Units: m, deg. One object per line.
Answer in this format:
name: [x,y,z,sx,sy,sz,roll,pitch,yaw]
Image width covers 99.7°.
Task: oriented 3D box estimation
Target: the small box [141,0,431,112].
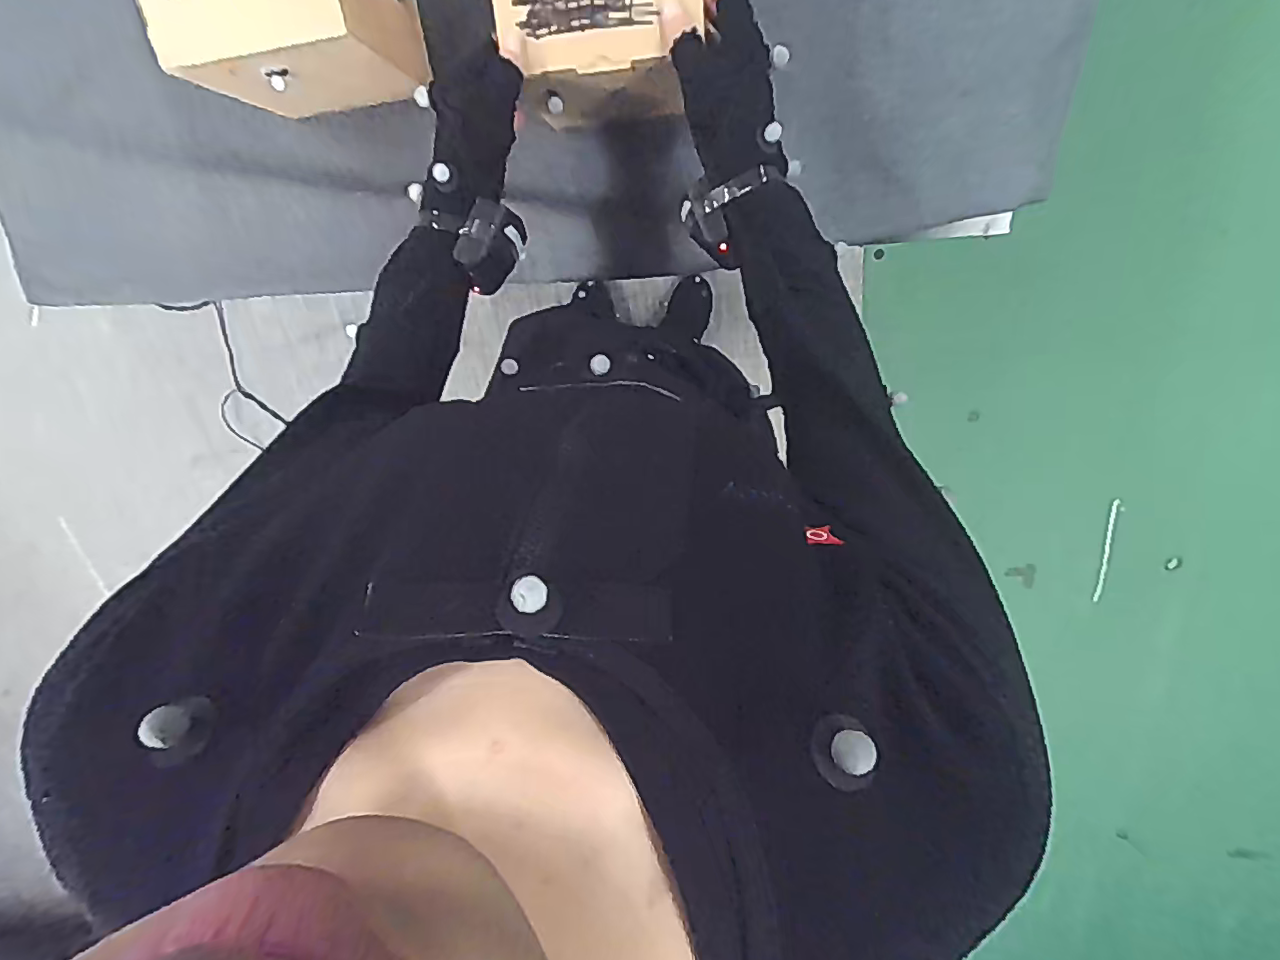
small box: [-0.326,-0.465,0.499,0.179,0.176,0.168,-4,111,7]
